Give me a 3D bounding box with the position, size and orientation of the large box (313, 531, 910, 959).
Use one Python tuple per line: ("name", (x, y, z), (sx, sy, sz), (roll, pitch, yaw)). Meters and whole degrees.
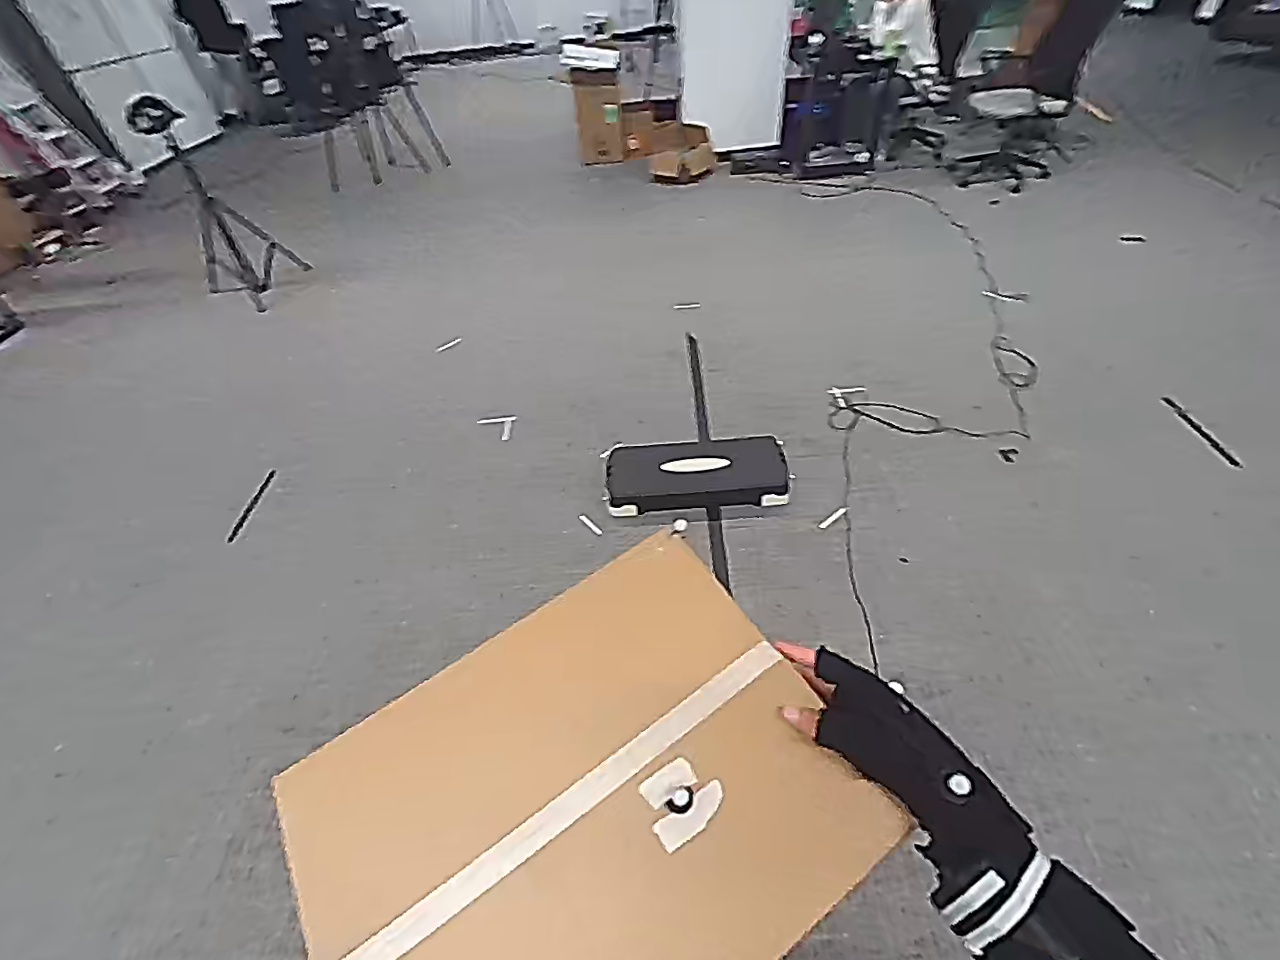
("large box", (-0.025, 0.335, 0.559), (0.408, 0.320, 0.320), (-30, 59, -15))
